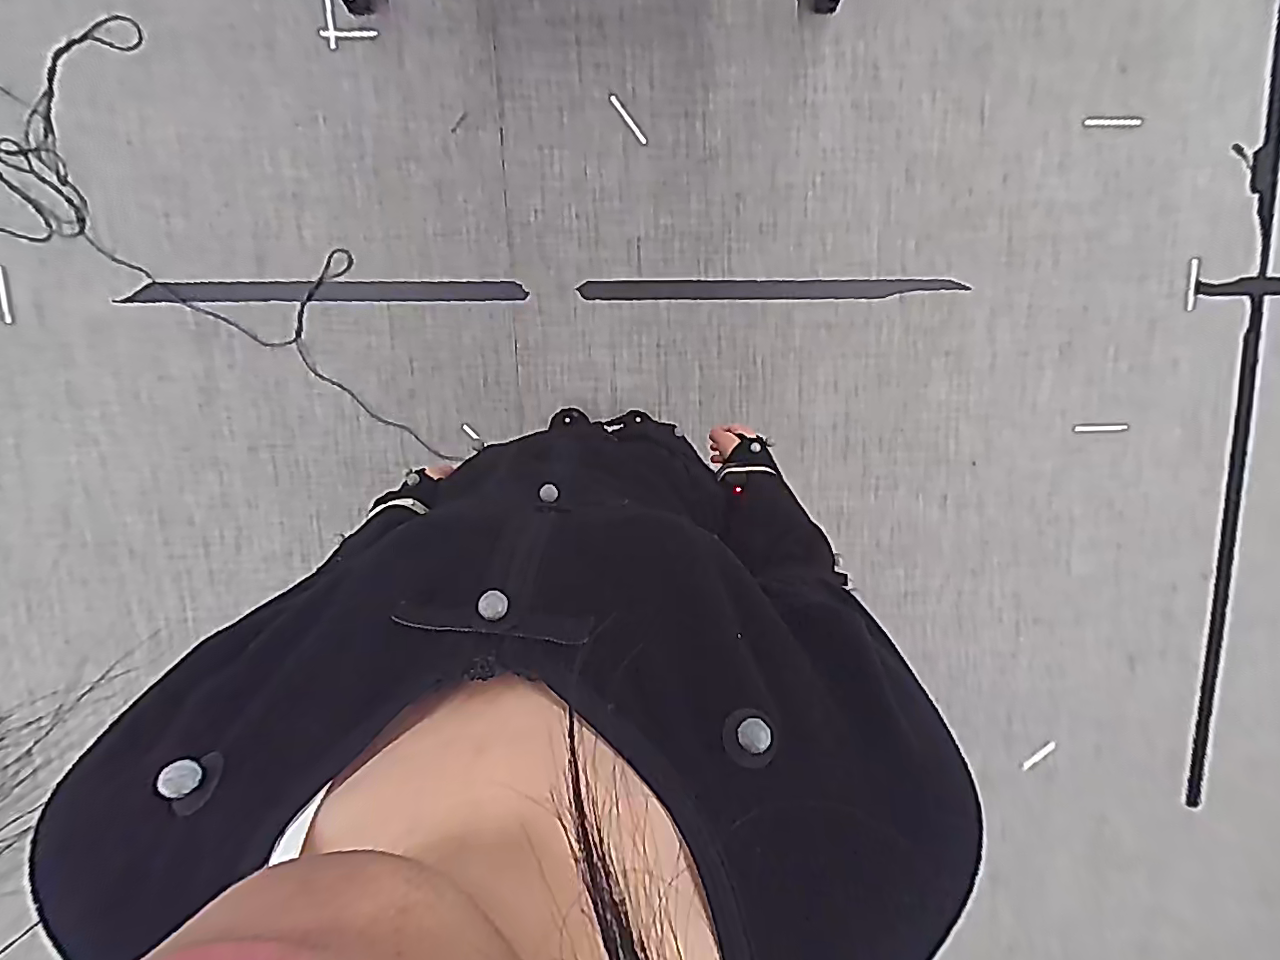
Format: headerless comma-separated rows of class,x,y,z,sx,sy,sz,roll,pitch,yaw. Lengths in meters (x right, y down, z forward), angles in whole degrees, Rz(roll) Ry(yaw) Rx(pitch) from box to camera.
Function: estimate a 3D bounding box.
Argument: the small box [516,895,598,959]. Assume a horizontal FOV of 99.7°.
small box,-0.187,1.109,1.259,0.179,0.176,0.168,-3,96,-1
